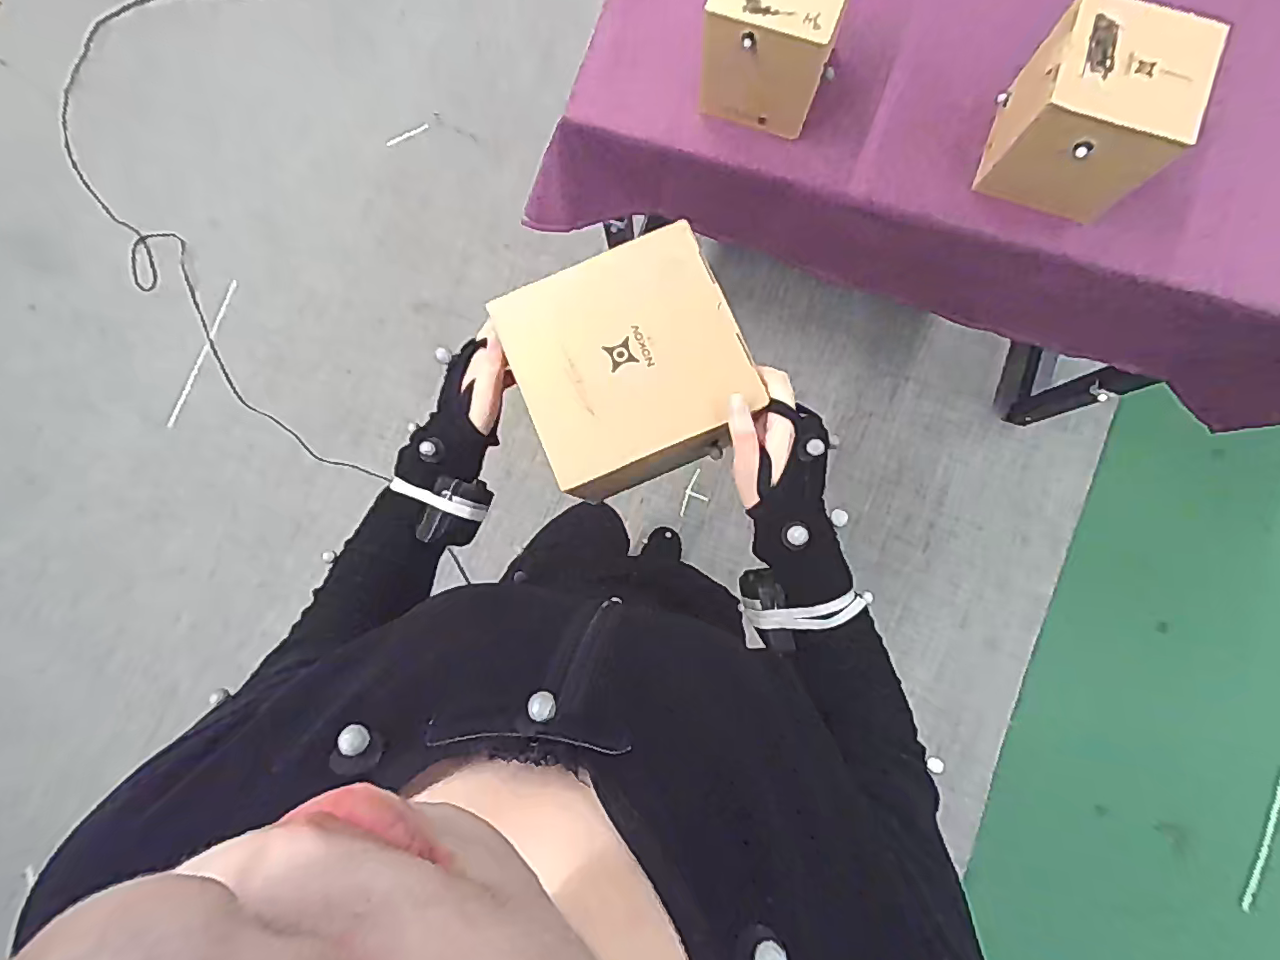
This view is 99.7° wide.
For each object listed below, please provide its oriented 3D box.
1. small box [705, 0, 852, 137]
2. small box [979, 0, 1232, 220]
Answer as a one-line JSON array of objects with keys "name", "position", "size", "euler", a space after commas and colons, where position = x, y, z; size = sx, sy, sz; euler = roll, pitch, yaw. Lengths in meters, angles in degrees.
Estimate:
[{"name": "small box", "position": [0.196, -0.639, 0.763], "size": [0.168, 0.176, 0.179], "euler": [21, 85, 5]}, {"name": "small box", "position": [0.602, -0.485, 0.726], "size": [0.179, 0.176, 0.168], "euler": [21, 86, 4]}]
